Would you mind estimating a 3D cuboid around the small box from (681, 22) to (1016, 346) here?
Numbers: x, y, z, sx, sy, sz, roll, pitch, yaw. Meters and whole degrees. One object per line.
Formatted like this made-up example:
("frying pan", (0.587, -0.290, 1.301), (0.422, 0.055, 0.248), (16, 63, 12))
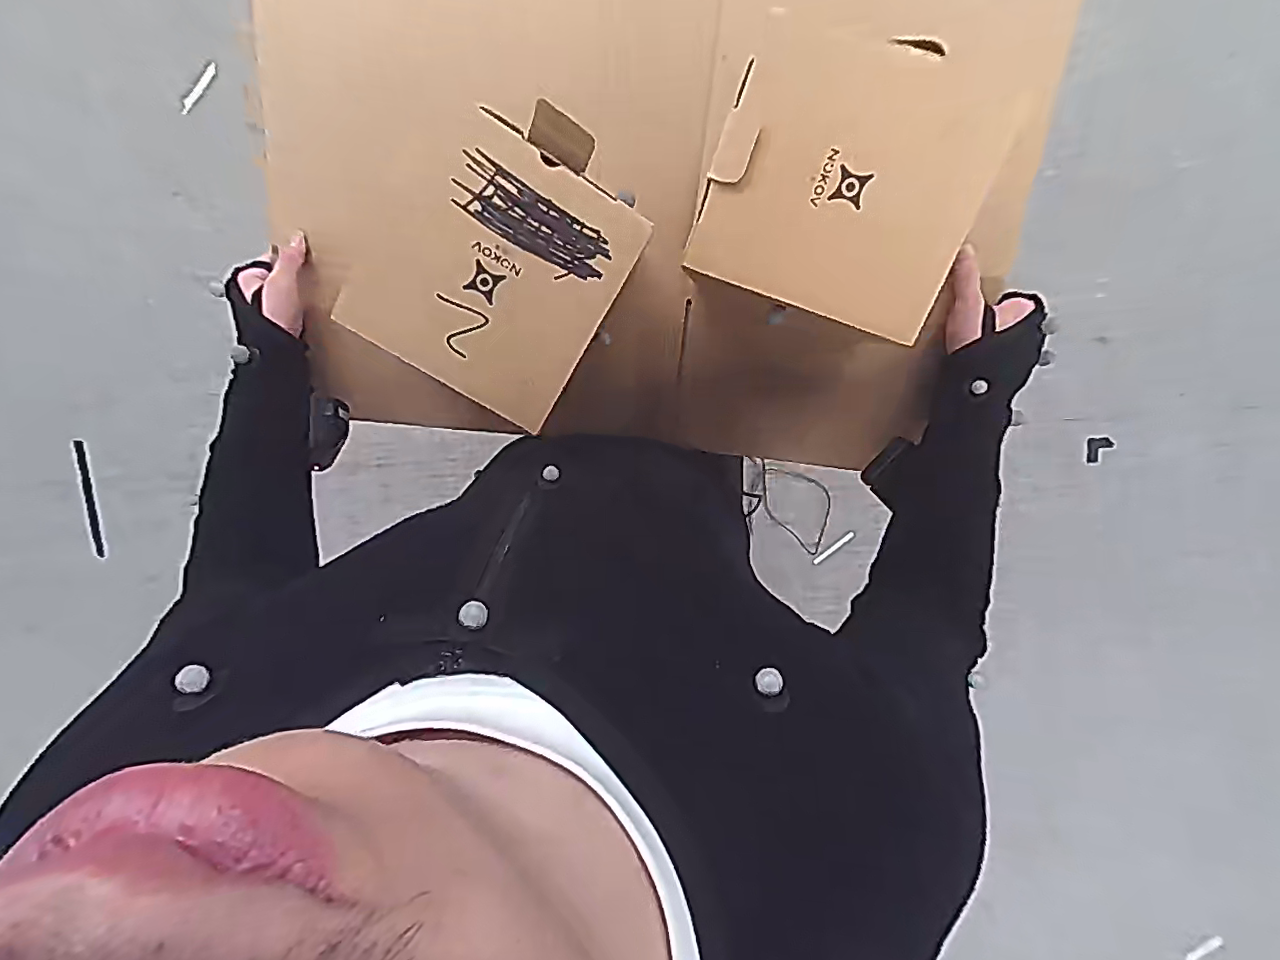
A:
("small box", (0.151, -0.223, 0.452), (0.179, 0.176, 0.168), (21, 108, 5))
